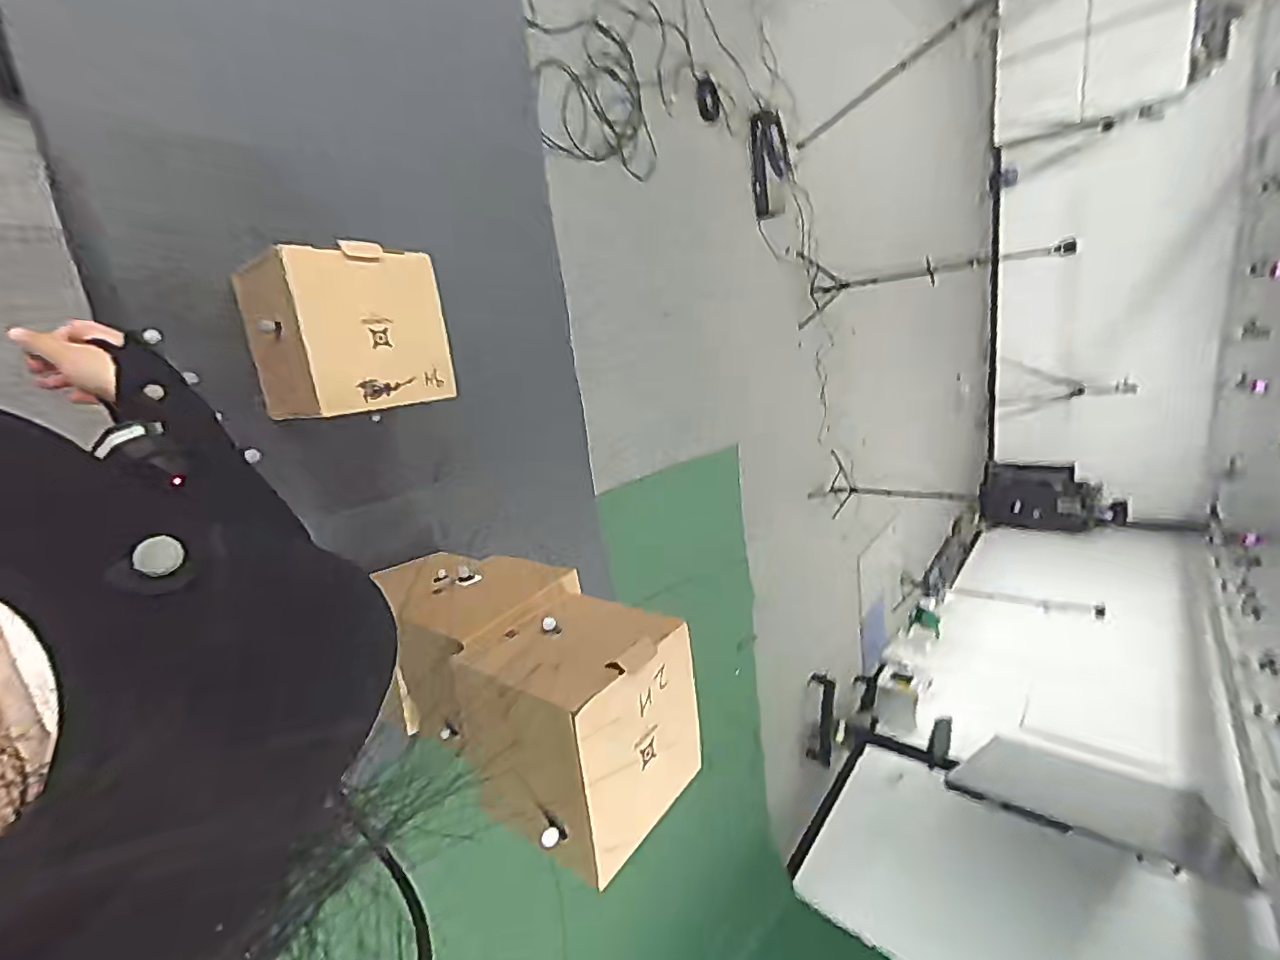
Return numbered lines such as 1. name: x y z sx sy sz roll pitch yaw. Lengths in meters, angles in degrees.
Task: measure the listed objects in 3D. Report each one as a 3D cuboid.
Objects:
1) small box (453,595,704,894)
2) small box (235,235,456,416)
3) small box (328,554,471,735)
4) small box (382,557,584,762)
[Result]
1. small box: -0.056 0.233 0.530 0.168 0.176 0.179 -22 109 -50
2. small box: -0.355 -0.178 0.655 0.168 0.176 0.179 -21 108 -47
3. small box: -0.297 0.211 0.752 0.179 0.176 0.168 -16 105 -49
4. small box: -0.173 0.208 0.647 0.168 0.176 0.179 -28 113 -48
